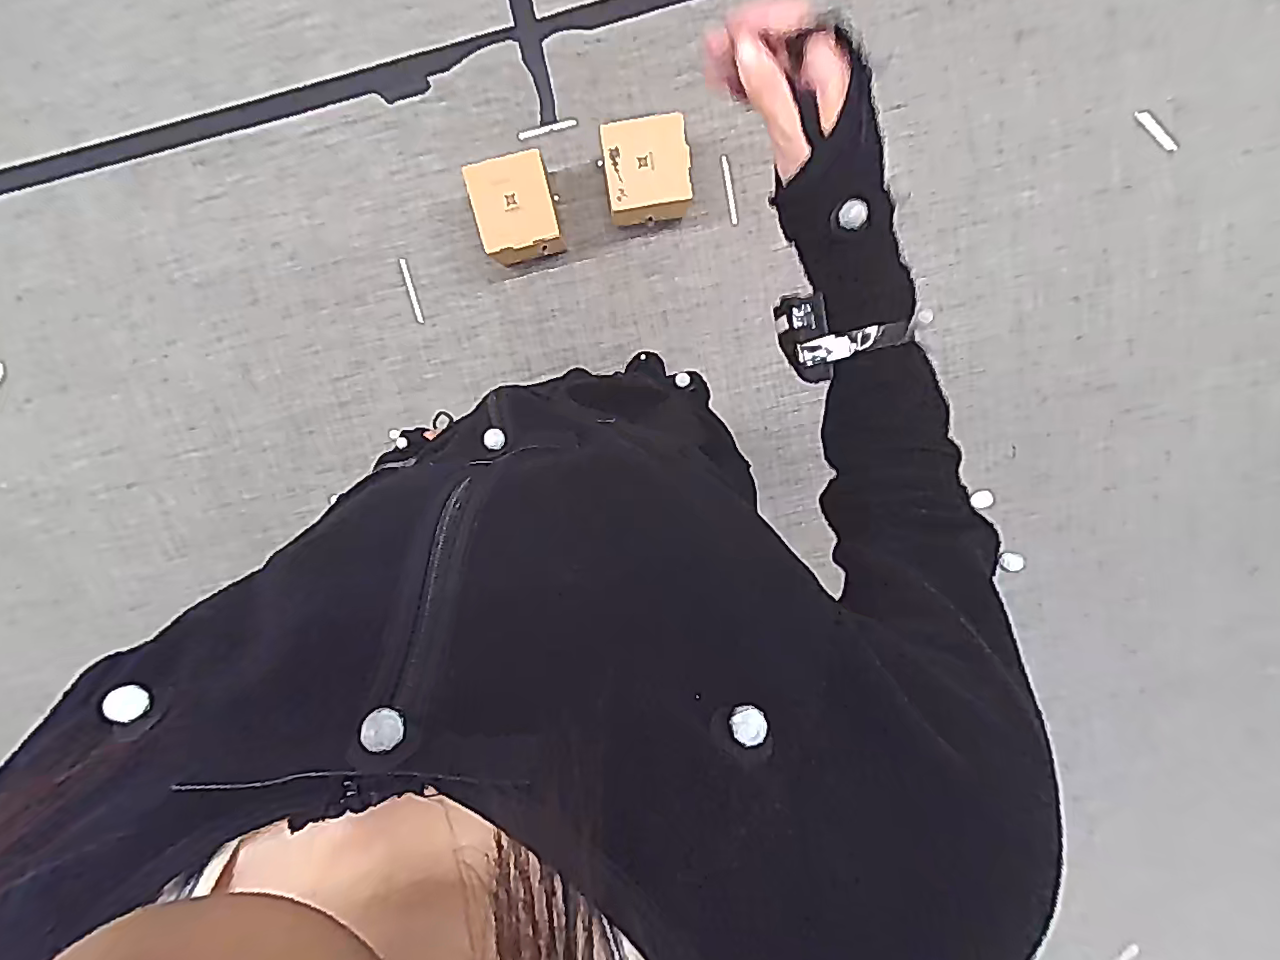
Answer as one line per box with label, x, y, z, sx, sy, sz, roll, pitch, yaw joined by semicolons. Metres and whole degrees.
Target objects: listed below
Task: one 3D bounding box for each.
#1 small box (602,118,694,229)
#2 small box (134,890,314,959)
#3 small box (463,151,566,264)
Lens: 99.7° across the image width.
small box;0.013;-0.667;1.192;0.179;0.176;0.168;-9;104;-1
small box;-0.608;0.727;0.758;0.179;0.176;0.168;-13;105;1
small box;-0.269;-0.591;1.201;0.168;0.176;0.179;-14;103;0
